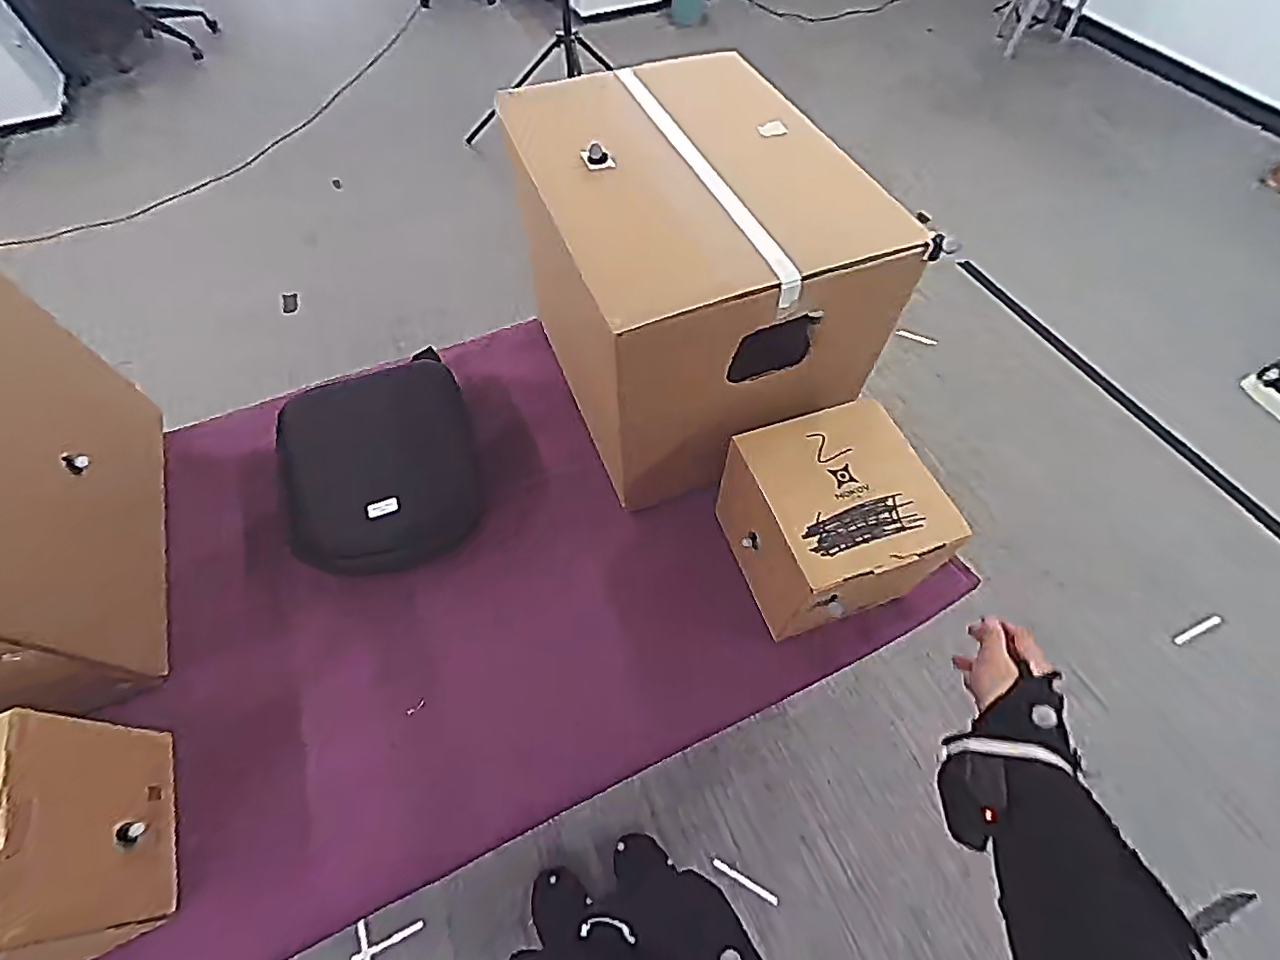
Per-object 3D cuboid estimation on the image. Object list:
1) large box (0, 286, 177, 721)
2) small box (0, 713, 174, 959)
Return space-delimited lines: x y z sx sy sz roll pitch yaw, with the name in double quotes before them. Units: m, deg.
"large box" -0.724 0.043 0.517 0.320 0.320 0.408 -22 63 -14
"small box" -0.528 0.318 0.432 0.179 0.176 0.168 -23 60 -14
